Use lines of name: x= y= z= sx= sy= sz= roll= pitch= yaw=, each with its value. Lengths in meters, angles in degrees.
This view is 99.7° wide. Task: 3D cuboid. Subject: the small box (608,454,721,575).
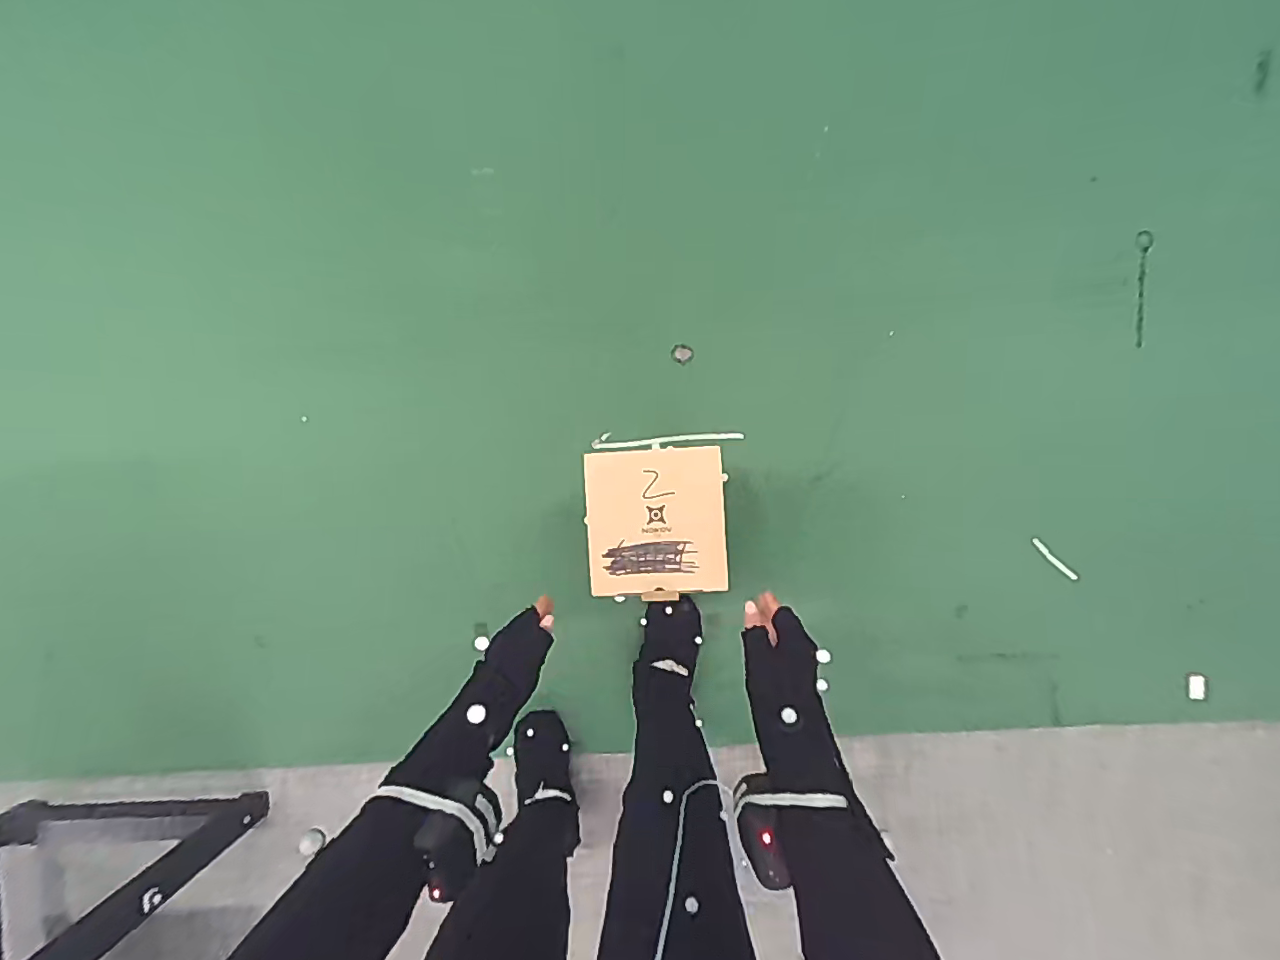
small box: x=0.038 y=0.053 z=0.887 sx=0.168 sy=0.176 sz=0.179 roll=-4 pitch=91 yaw=3
